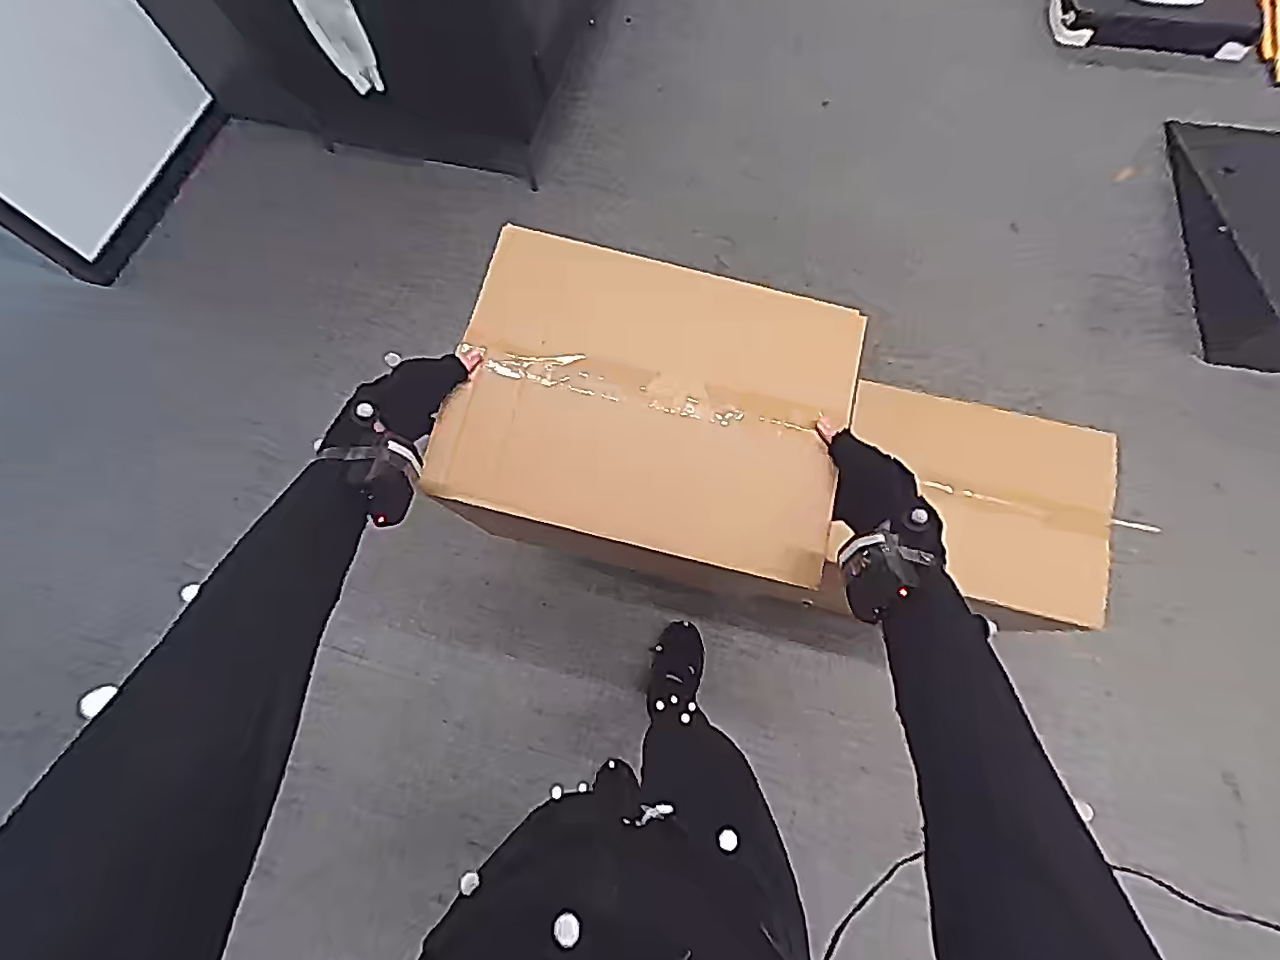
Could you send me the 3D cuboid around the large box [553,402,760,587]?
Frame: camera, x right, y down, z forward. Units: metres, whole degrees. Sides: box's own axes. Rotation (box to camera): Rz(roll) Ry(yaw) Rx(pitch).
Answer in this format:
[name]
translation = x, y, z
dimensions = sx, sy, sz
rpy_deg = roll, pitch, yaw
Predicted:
[large box]
translation = 0.051, 0.049, 1.332
dimensions = 0.408, 0.320, 0.320
rpy_deg = 14, 71, 9
